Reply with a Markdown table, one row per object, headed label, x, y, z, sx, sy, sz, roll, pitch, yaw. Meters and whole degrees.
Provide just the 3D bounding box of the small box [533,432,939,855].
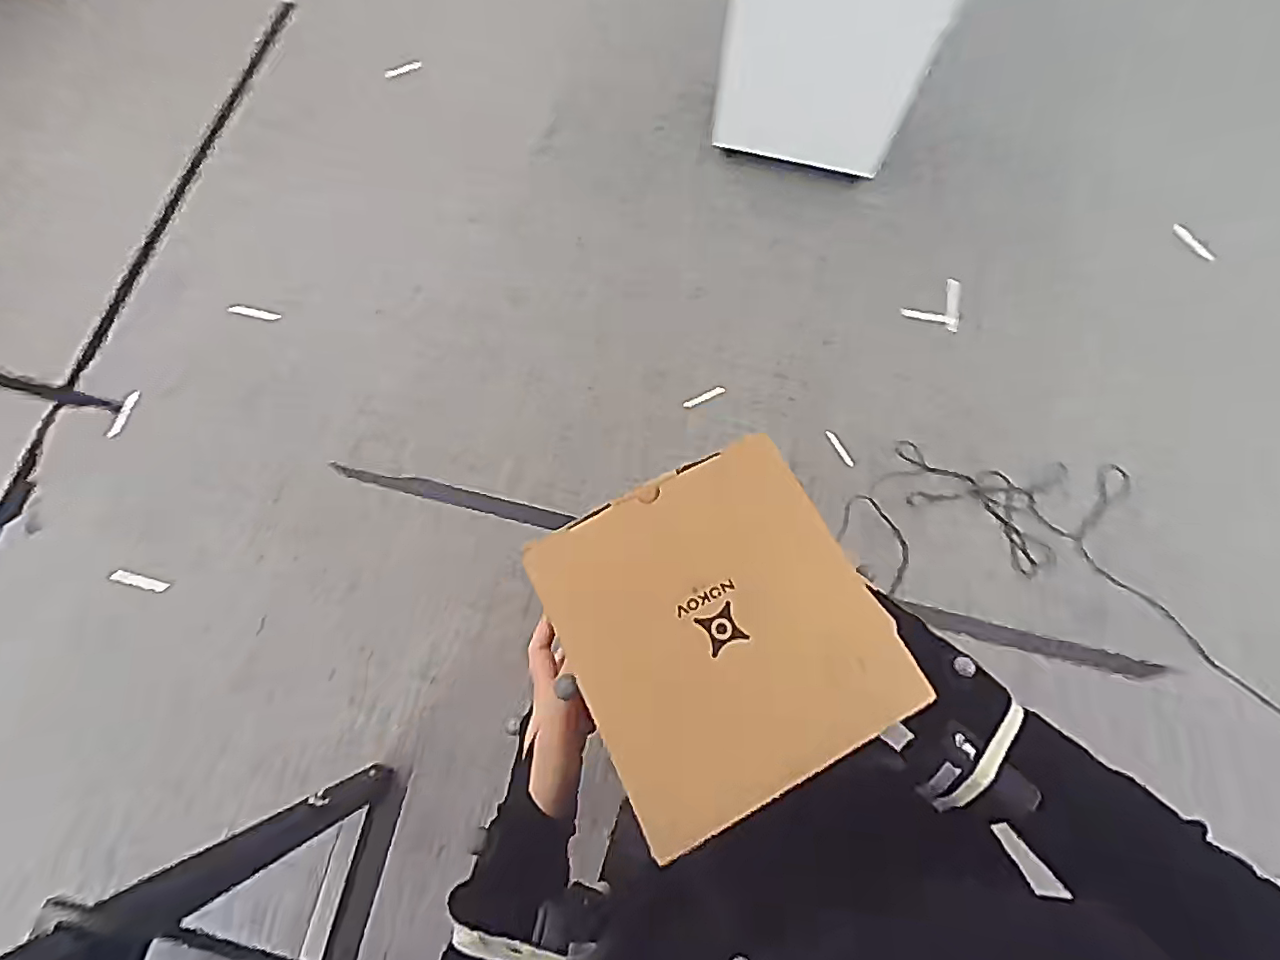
| label | x | y | z | sx | sy | sz | roll | pitch | yaw |
| --- | --- | --- | --- | --- | --- | --- | --- | --- | --- |
| small box | 0.049 | 0.102 | 0.369 | 0.168 | 0.176 | 0.179 | -25 | 71 | -8 |
